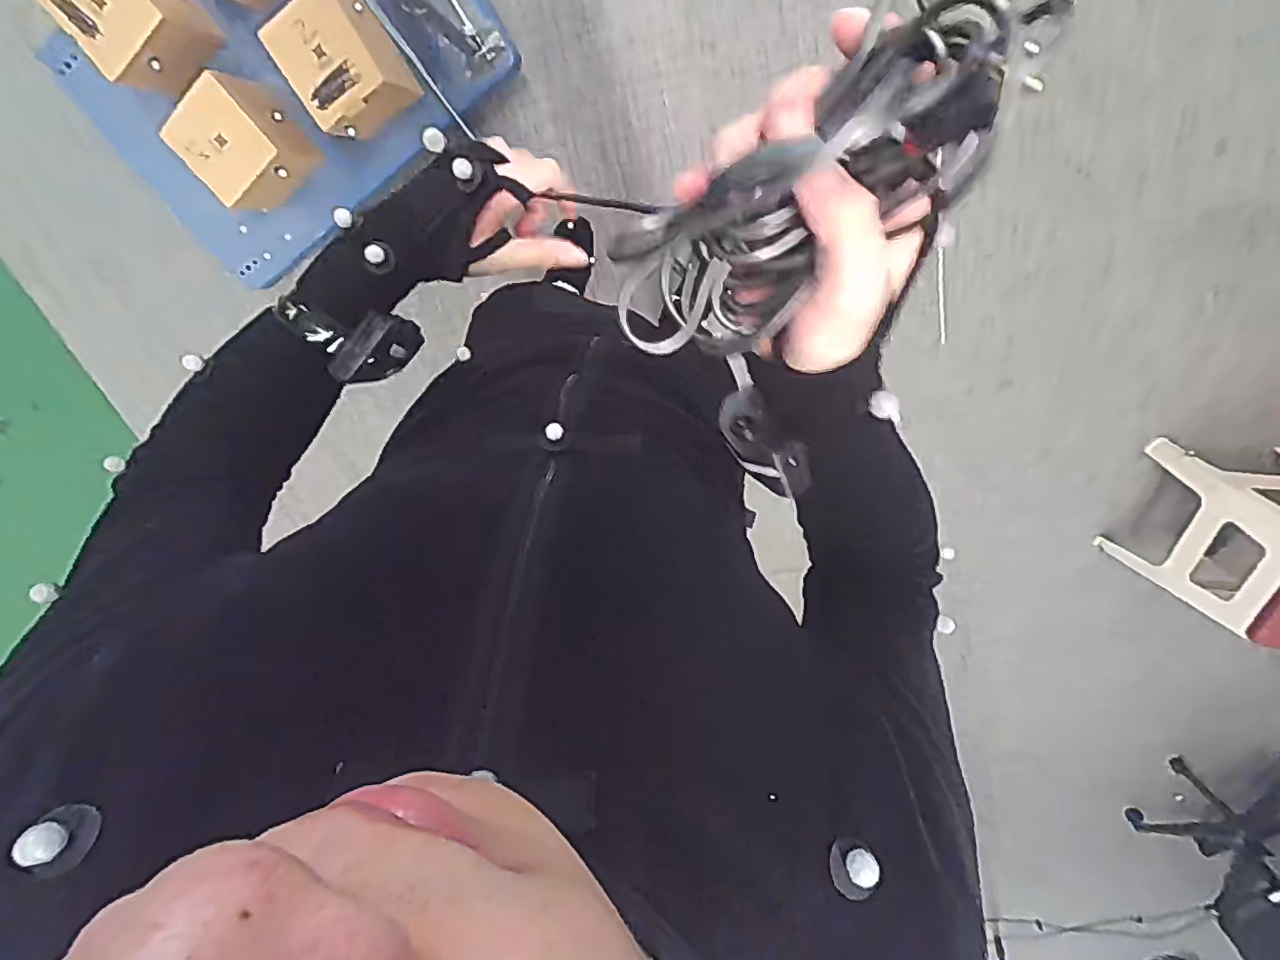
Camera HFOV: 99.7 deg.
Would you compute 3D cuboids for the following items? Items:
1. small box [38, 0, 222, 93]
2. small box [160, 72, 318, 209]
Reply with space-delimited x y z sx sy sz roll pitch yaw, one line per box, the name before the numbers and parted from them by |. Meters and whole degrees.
small box | -0.960 -0.882 1.030 0.179 0.176 0.168 -30 113 17
small box | -0.813 -0.692 1.122 0.179 0.176 0.168 -32 111 19
